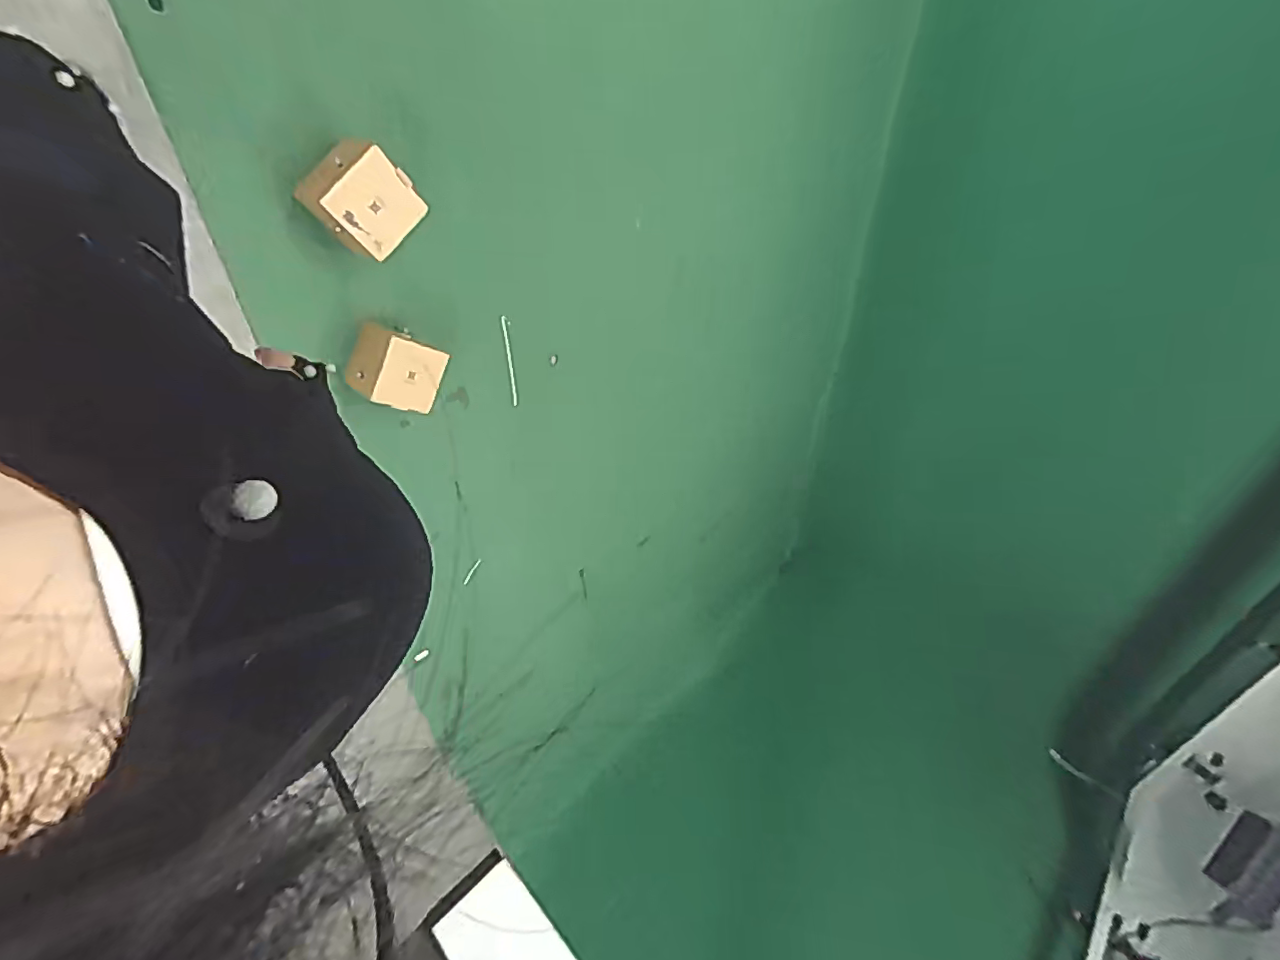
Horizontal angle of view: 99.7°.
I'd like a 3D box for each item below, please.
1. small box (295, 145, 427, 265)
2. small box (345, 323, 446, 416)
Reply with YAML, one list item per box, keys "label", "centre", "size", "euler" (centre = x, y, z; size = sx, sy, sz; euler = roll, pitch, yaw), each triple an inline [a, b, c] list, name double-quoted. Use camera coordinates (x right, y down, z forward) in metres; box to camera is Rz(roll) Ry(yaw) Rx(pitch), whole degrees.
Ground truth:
- label: "small box"
  centre: [-0.630, -0.623, 1.218]
  size: [0.179, 0.176, 0.168]
  euler: [-53, 145, -9]
- label: "small box"
  centre: [-0.655, -0.293, 1.436]
  size: [0.168, 0.176, 0.179]
  euler: [9, 107, -55]
